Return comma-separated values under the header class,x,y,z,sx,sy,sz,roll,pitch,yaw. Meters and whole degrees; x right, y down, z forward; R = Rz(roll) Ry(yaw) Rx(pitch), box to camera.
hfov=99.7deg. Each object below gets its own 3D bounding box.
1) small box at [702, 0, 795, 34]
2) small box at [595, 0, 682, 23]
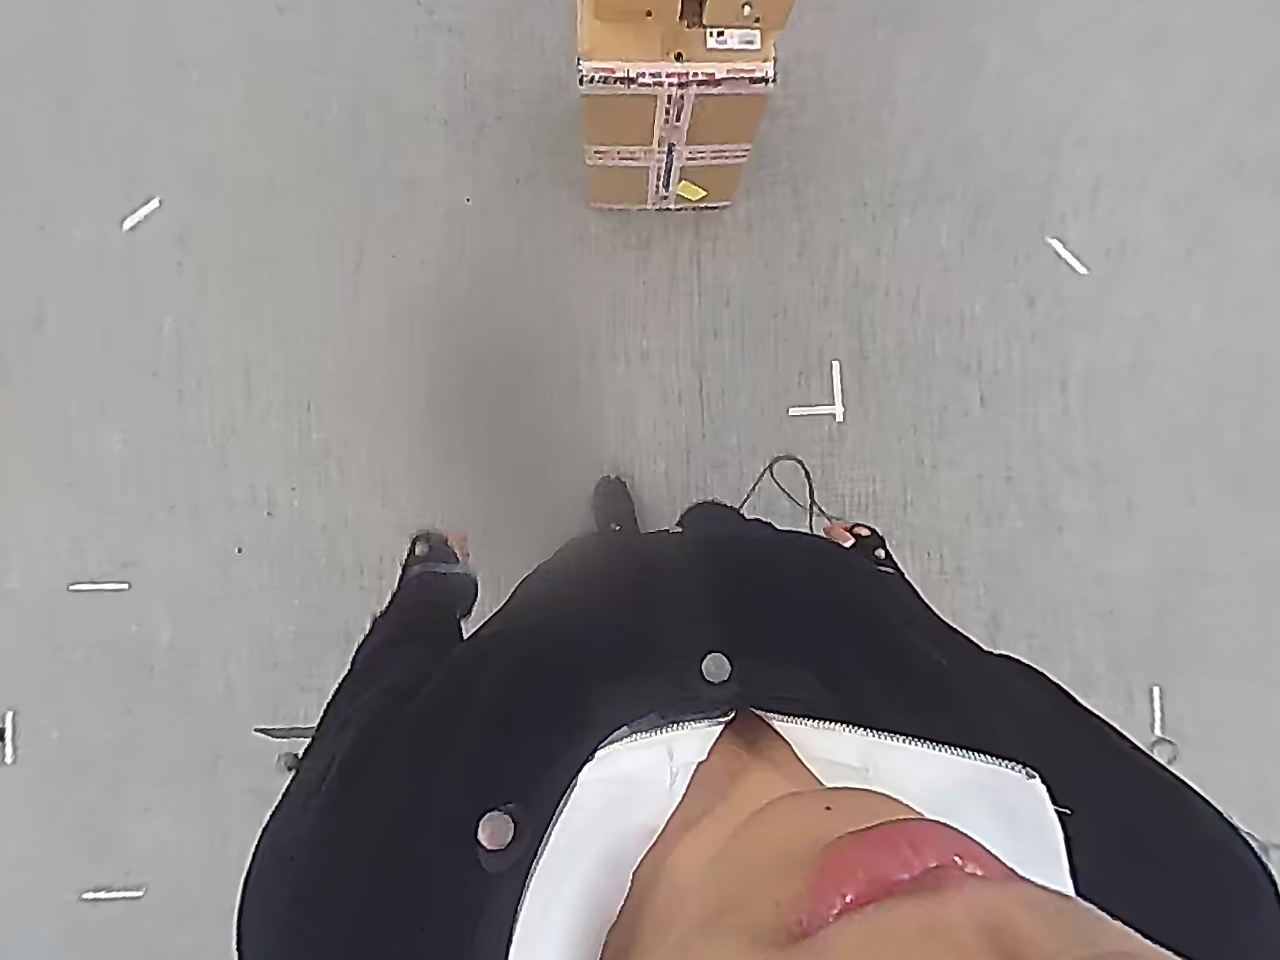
class,x,y,z,sx,sy,sz,roll,pitch,yaw
small box,0.207,-0.965,0.976,0.168,0.176,0.179,1,90,-4
small box,-0.002,-0.969,0.967,0.168,0.176,0.179,1,90,-1
